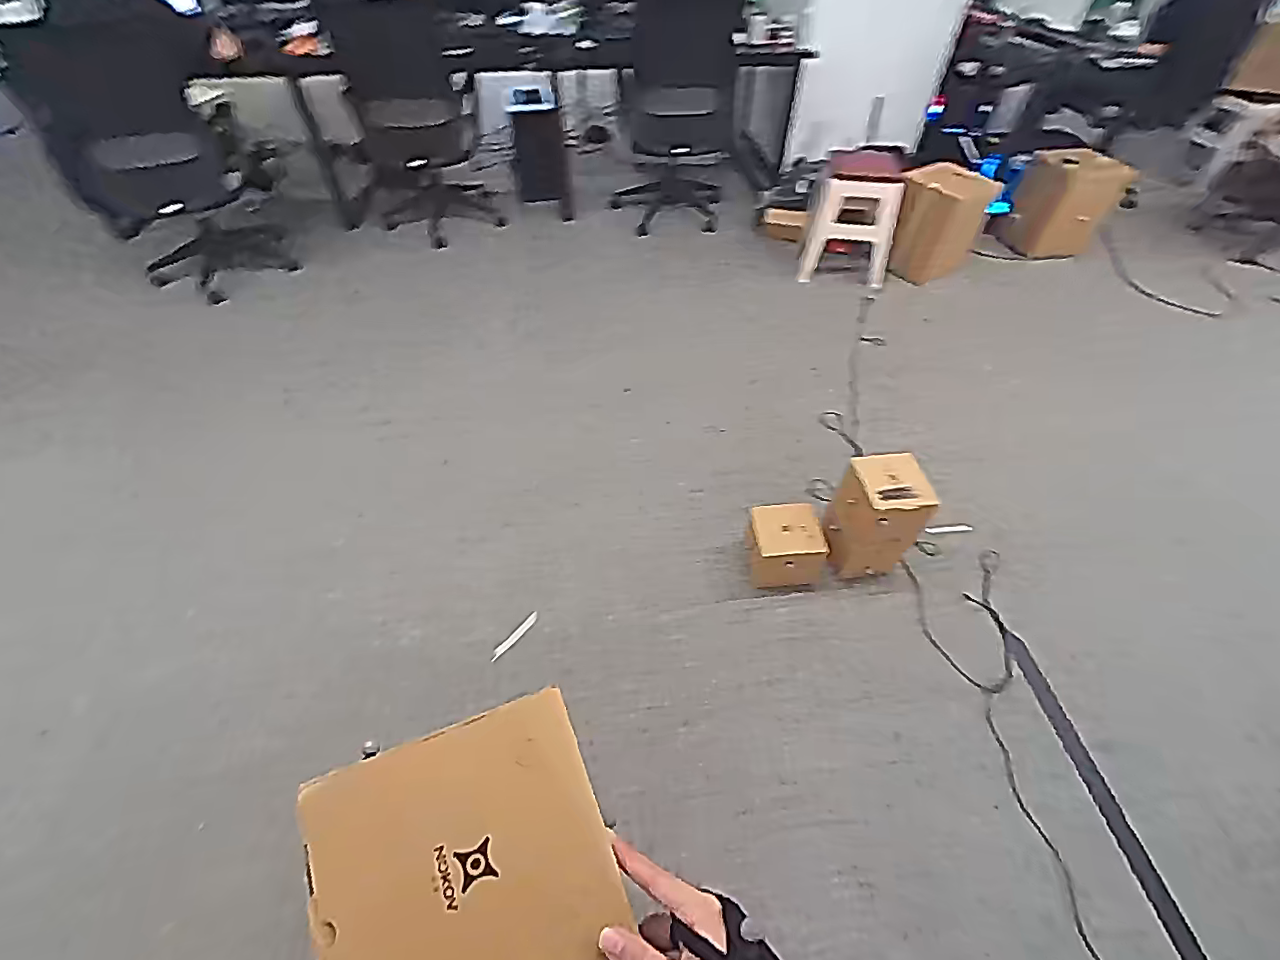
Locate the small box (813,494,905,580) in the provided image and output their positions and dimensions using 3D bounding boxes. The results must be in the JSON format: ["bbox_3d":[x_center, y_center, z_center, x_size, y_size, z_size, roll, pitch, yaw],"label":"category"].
[{"bbox_3d":[0.616,0.166,1.551,0.168,0.176,0.179,-6,51,-6],"label":"small box"}]

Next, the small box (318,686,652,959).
[{"bbox_3d":[-0.112,0.272,0.413,0.179,0.176,0.168,-16,69,-17],"label":"small box"}]

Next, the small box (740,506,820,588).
[{"bbox_3d":[0.385,0.194,1.525,0.179,0.176,0.168,-4,50,-2],"label":"small box"}]
